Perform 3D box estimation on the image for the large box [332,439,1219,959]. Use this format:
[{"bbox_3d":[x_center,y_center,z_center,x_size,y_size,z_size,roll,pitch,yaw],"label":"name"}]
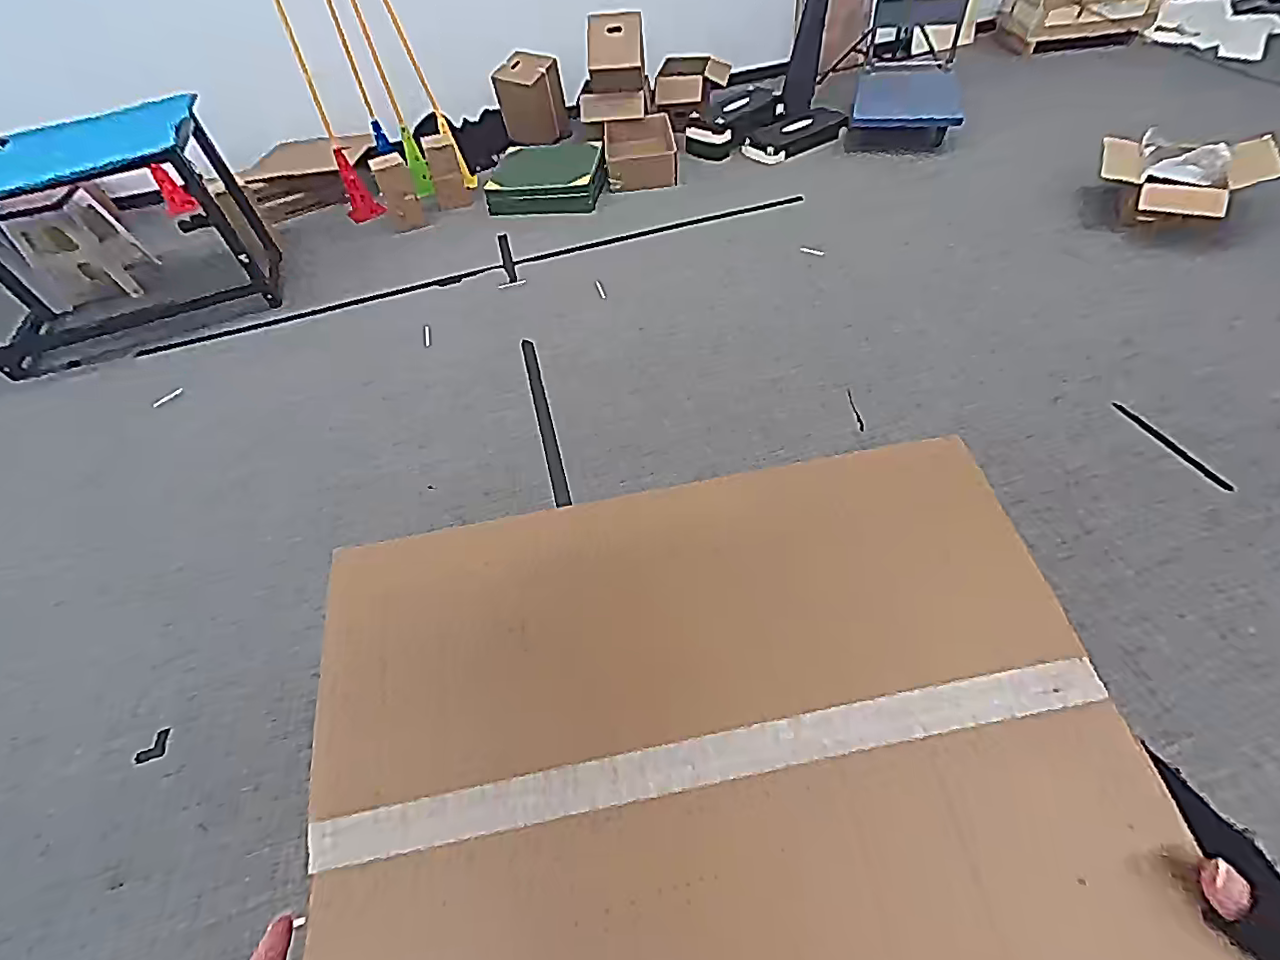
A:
[{"bbox_3d":[0.044,0.211,0.423,0.408,0.320,0.320,-11,63,-3],"label":"large box"}]
